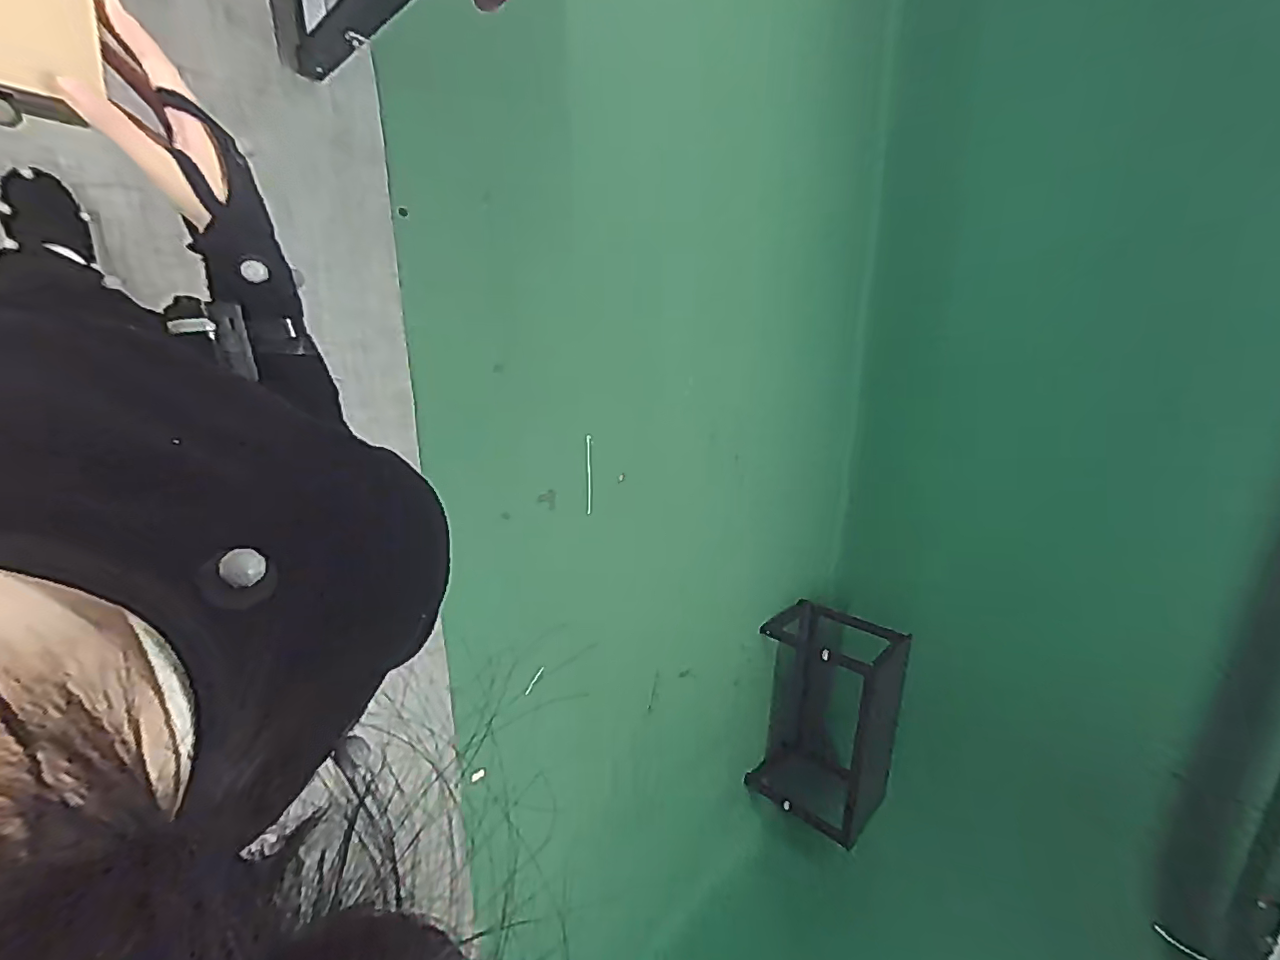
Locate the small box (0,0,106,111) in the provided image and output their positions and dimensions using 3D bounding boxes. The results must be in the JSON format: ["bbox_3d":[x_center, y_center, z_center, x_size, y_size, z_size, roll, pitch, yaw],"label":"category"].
[{"bbox_3d":[-0.431,-0.324,0.293,0.179,0.176,0.168,-10,118,-46],"label":"small box"}]
